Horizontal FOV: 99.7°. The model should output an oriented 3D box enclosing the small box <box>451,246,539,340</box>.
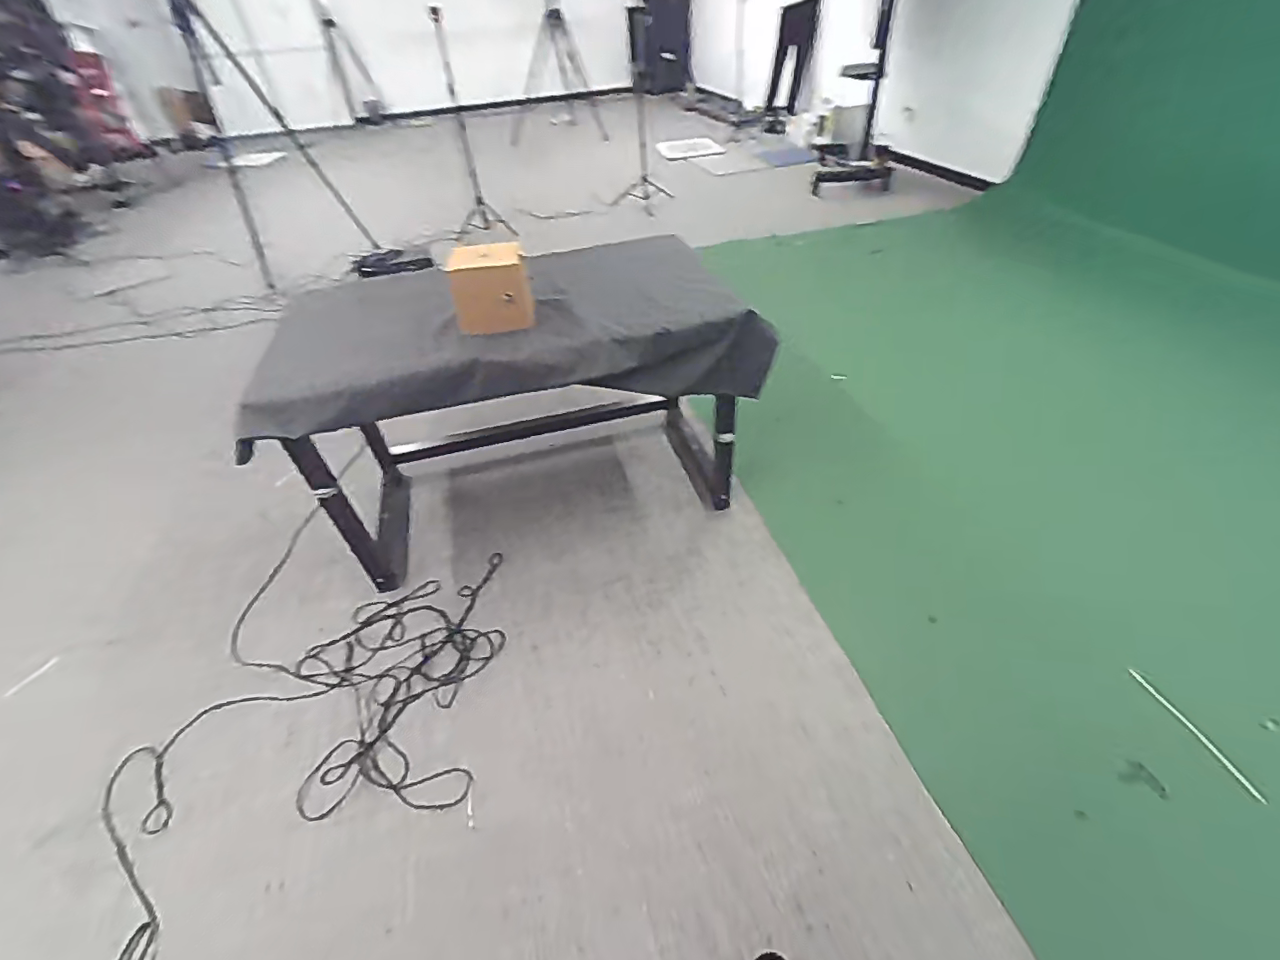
[{"bbox_3d":[-0.358,-0.474,1.370,0.179,0.176,0.168,-8,41,-2],"label":"small box"}]
